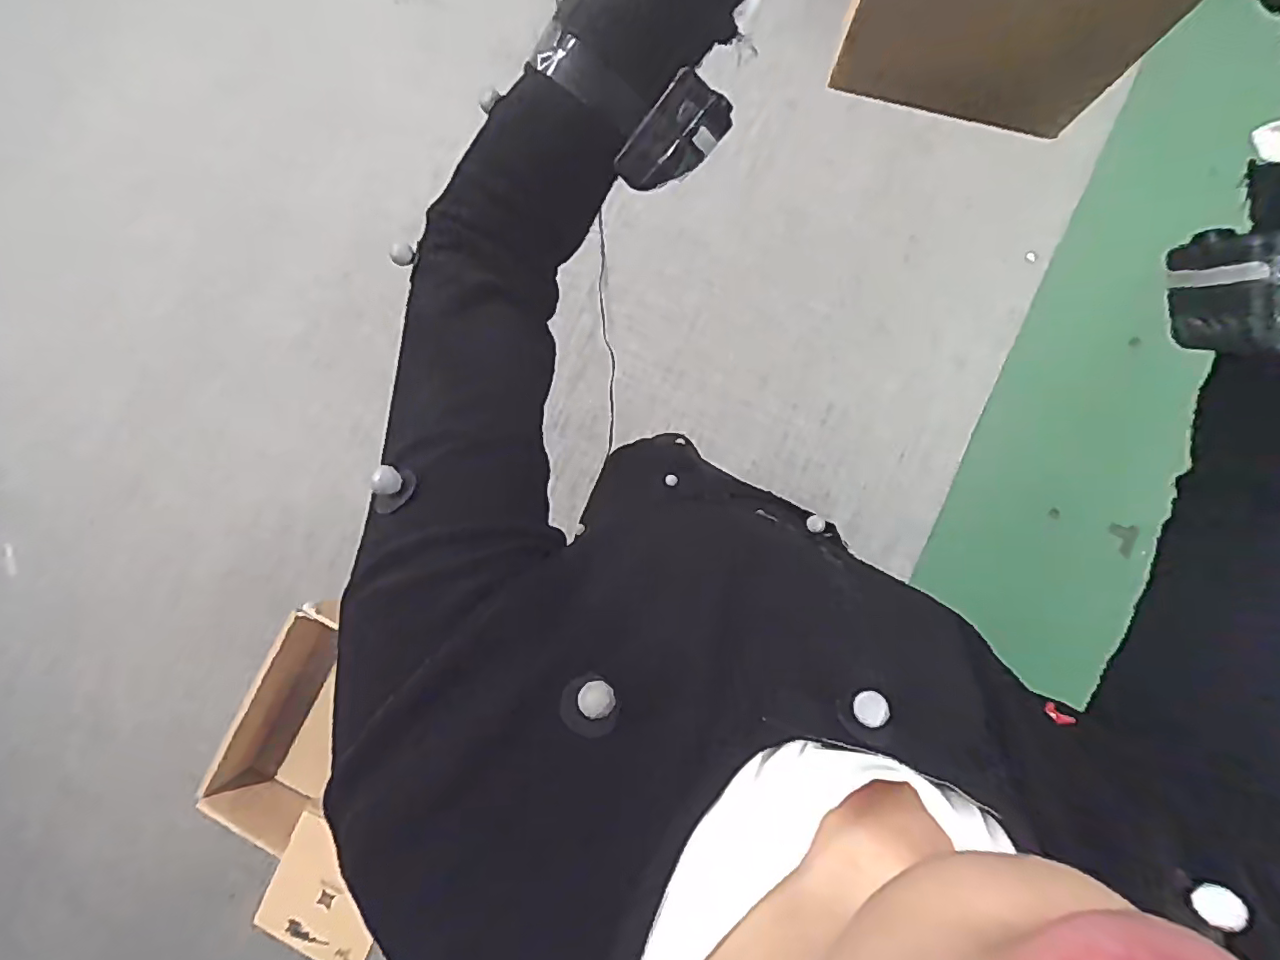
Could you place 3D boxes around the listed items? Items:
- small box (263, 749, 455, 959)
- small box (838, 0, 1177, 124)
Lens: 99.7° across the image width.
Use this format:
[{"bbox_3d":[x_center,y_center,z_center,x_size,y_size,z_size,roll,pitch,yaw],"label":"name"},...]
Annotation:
[{"bbox_3d":[-0.408,0.550,0.822,0.168,0.176,0.179,25,89,6],"label":"small box"},{"bbox_3d":[0.244,-0.360,0.328,0.179,0.176,0.168,16,89,2],"label":"small box"}]
